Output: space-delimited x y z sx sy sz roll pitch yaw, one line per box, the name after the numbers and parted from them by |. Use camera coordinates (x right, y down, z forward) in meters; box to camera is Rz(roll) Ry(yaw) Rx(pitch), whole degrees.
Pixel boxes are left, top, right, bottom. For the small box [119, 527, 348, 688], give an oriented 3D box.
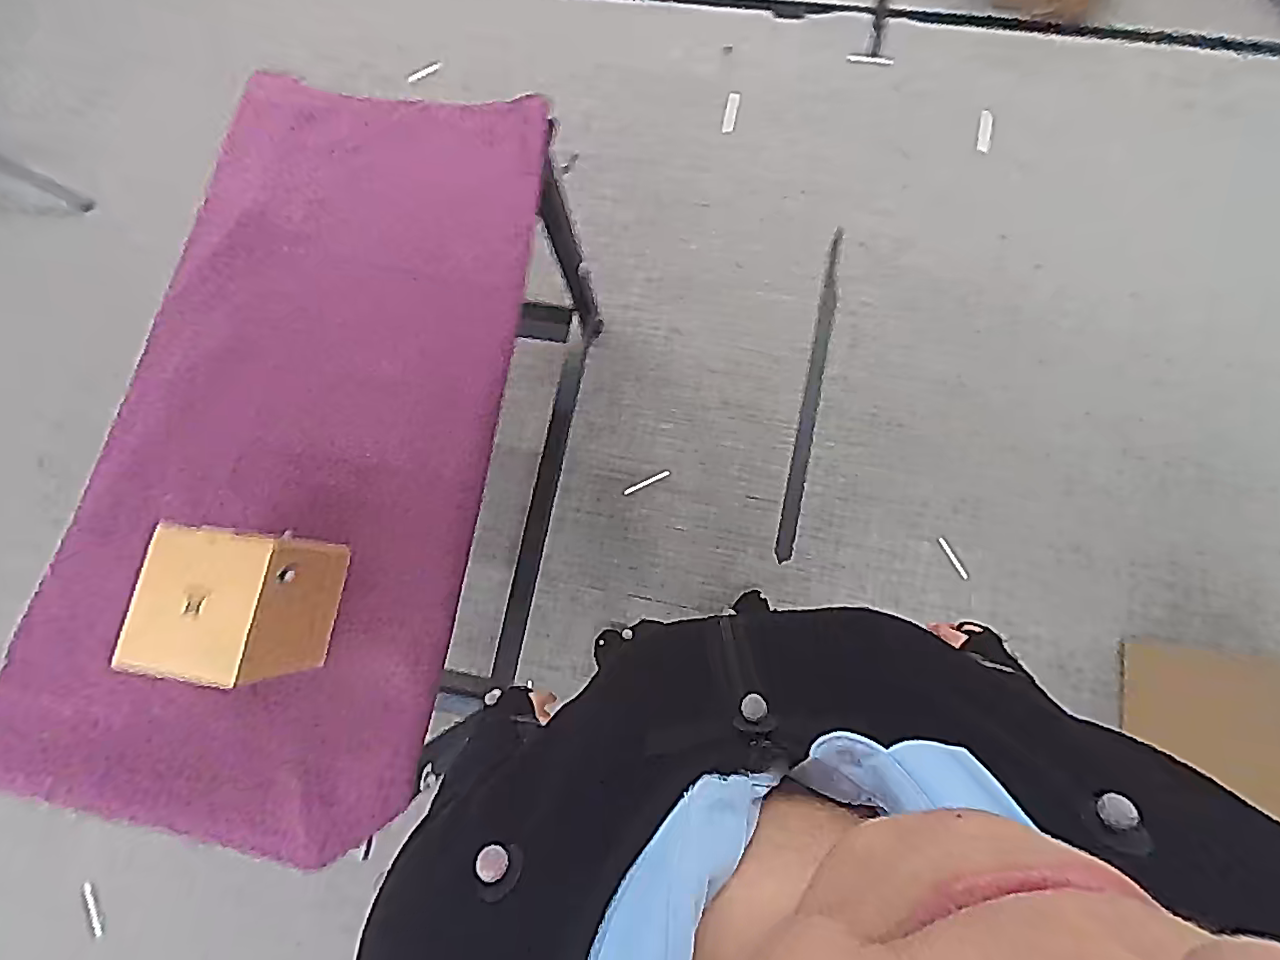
-0.537 0.169 0.743 0.168 0.176 0.179 7 79 6 | small box
